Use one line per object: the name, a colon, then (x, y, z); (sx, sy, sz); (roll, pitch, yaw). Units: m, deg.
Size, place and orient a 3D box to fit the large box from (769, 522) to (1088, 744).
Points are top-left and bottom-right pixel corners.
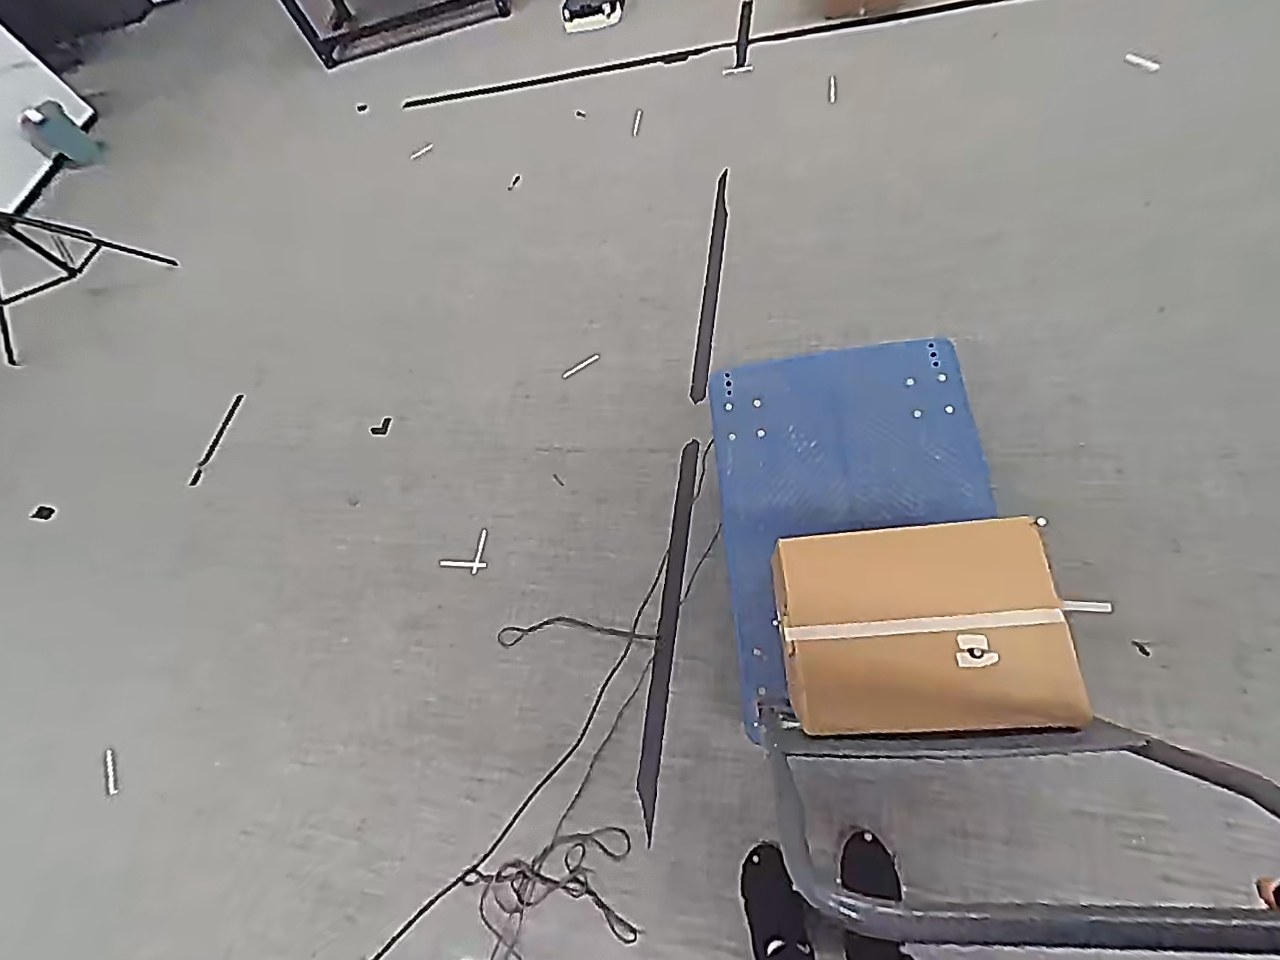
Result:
large box: (0.466, 0.279, 0.989); (0.408, 0.320, 0.320); (-6, 73, 9)
